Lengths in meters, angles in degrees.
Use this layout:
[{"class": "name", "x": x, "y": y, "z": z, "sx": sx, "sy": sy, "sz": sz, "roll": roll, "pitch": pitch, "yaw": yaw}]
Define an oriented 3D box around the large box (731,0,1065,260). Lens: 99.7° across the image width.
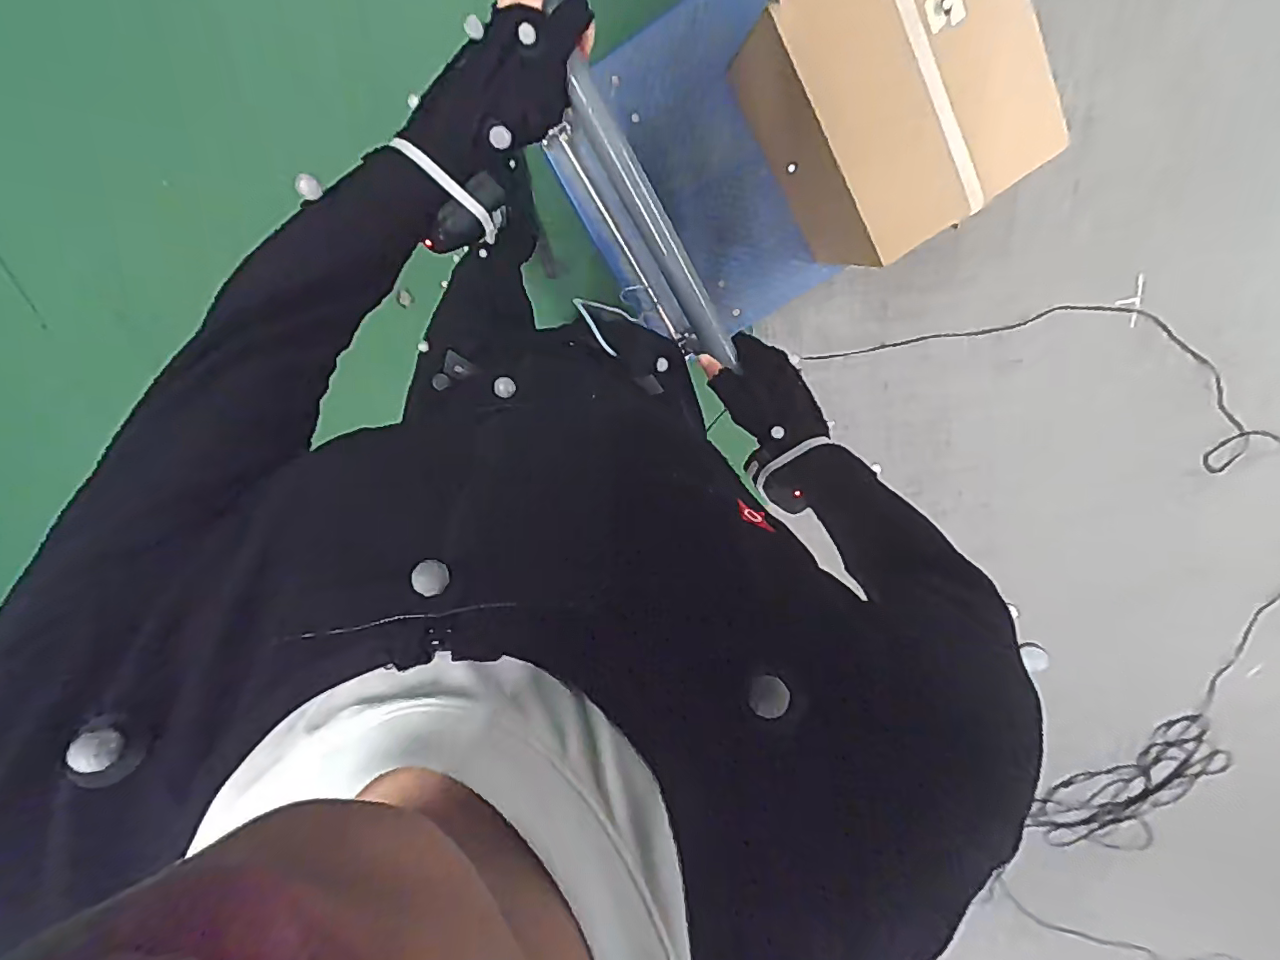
[{"class": "large box", "x": 0.401, "y": -0.637, "z": 0.909, "sx": 0.320, "sy": 0.320, "sz": 0.408, "roll": -31, "pitch": 110, "yaw": 11}]
